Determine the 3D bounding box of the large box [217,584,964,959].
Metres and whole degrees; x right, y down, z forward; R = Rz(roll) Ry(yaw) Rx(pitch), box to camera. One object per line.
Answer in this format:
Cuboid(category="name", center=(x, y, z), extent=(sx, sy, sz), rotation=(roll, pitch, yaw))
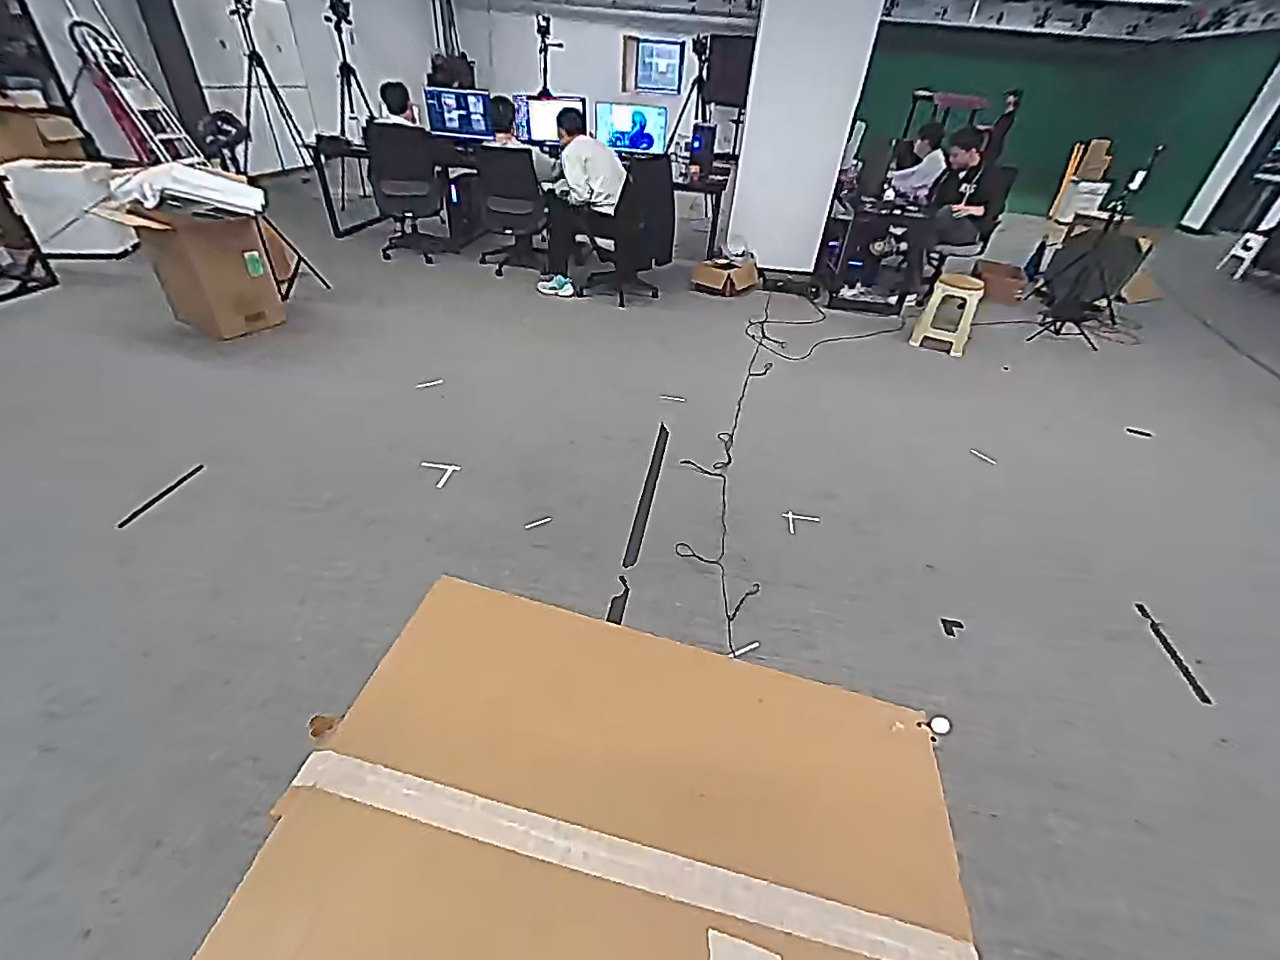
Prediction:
Cuboid(category="large box", center=(-0.028, 0.340, 0.423), extent=(0.408, 0.320, 0.320), rotation=(16, 41, 2))
